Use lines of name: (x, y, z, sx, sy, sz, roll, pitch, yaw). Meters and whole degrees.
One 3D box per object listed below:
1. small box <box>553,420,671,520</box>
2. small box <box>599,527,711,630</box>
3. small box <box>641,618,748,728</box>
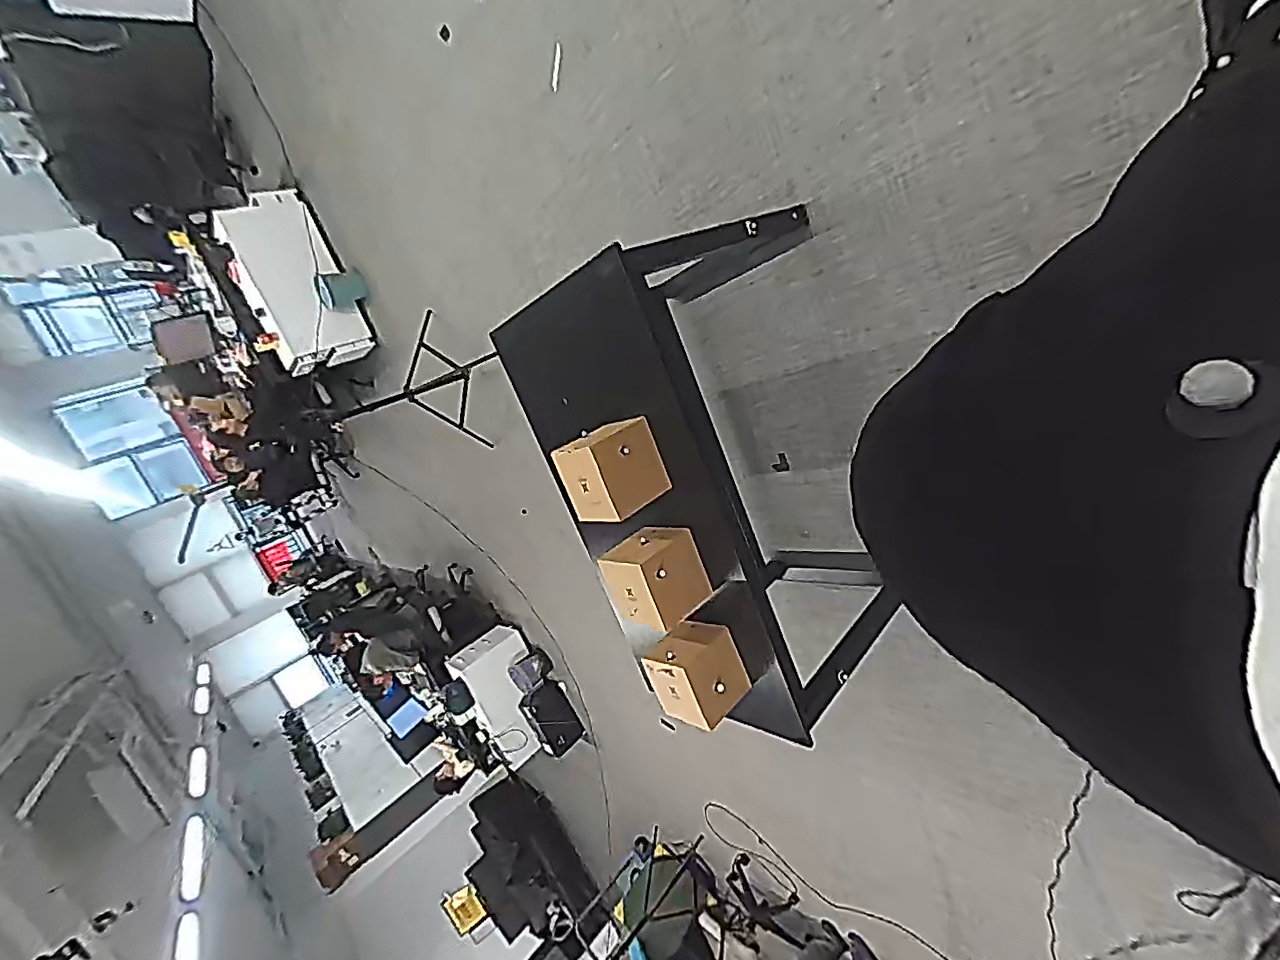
small box: (-0.060, -0.026, 1.220, 0.168, 0.176, 0.179, -5, 112, 53)
small box: (0.038, 0.223, 1.280, 0.168, 0.176, 0.179, -4, 112, 52)
small box: (0.140, 0.469, 1.338, 0.168, 0.176, 0.179, -10, 108, 52)
